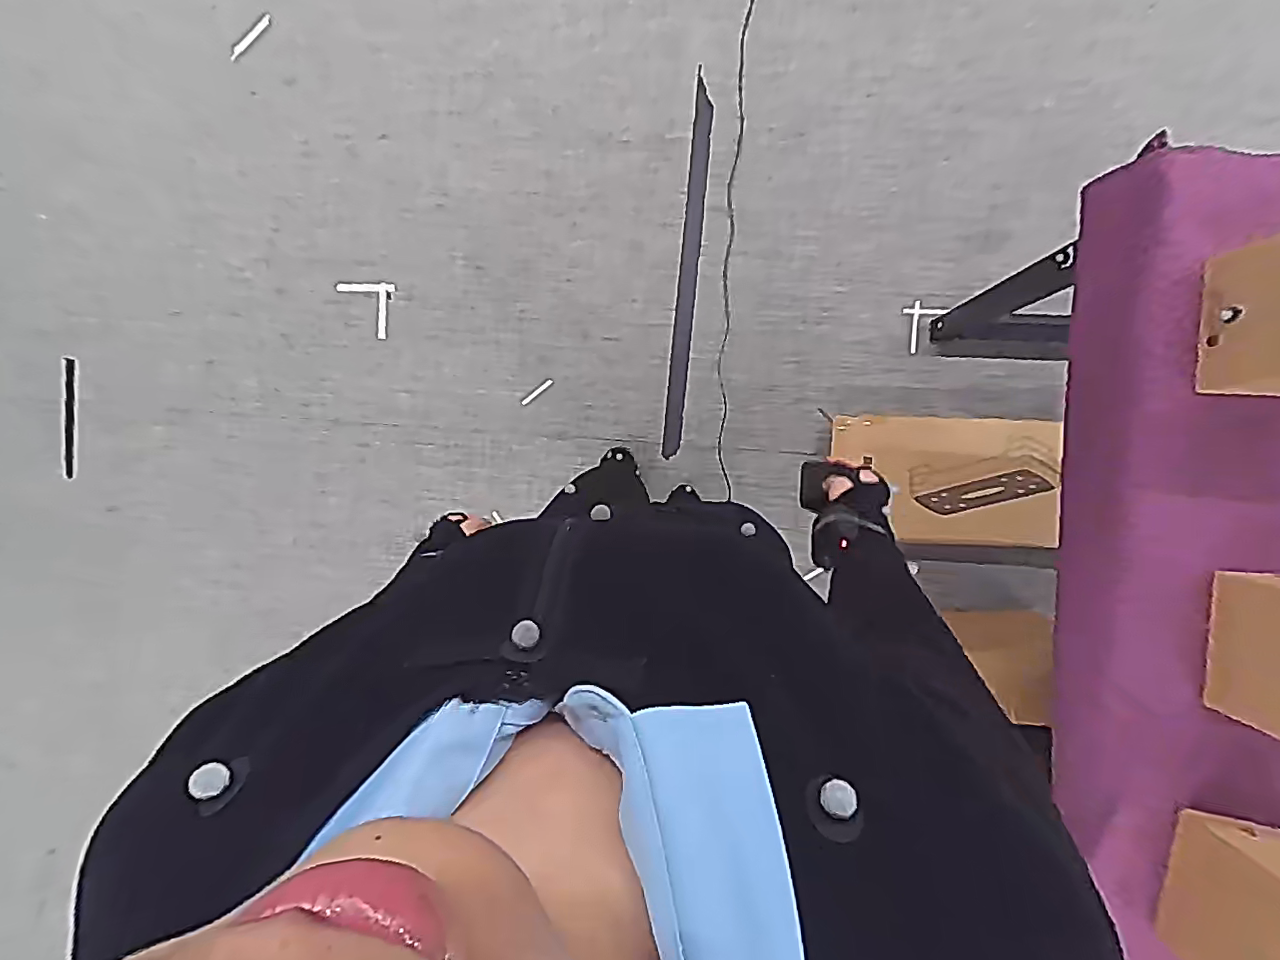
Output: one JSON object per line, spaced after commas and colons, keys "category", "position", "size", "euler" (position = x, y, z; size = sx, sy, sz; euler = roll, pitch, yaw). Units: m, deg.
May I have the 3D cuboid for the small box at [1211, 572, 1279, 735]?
{"category": "small box", "position": [0.804, 0.211, 0.602], "size": [0.168, 0.176, 0.179], "euler": [2, 92, 3]}

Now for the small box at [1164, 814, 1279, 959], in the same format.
{"category": "small box", "position": [0.767, 0.527, 0.619], "size": [0.168, 0.176, 0.179], "euler": [10, 93, 5]}
